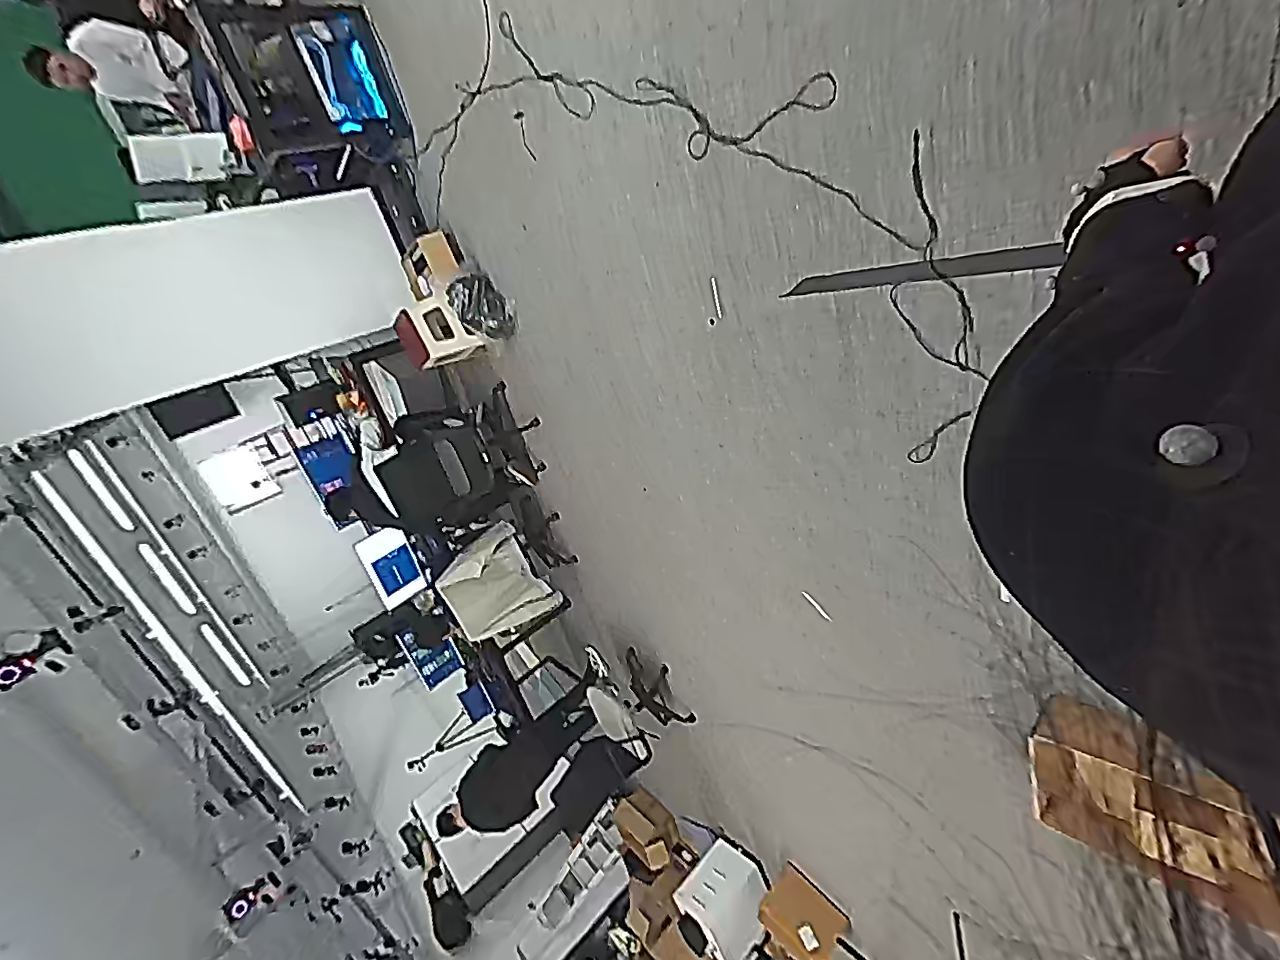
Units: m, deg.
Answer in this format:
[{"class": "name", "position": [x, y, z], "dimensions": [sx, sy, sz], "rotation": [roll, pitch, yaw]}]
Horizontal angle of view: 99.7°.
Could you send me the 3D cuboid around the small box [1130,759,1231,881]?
[{"class": "small box", "position": [1.434, 0.890, 1.432], "dimensions": [0.168, 0.176, 0.179], "rotation": [0, 117, 53]}]
